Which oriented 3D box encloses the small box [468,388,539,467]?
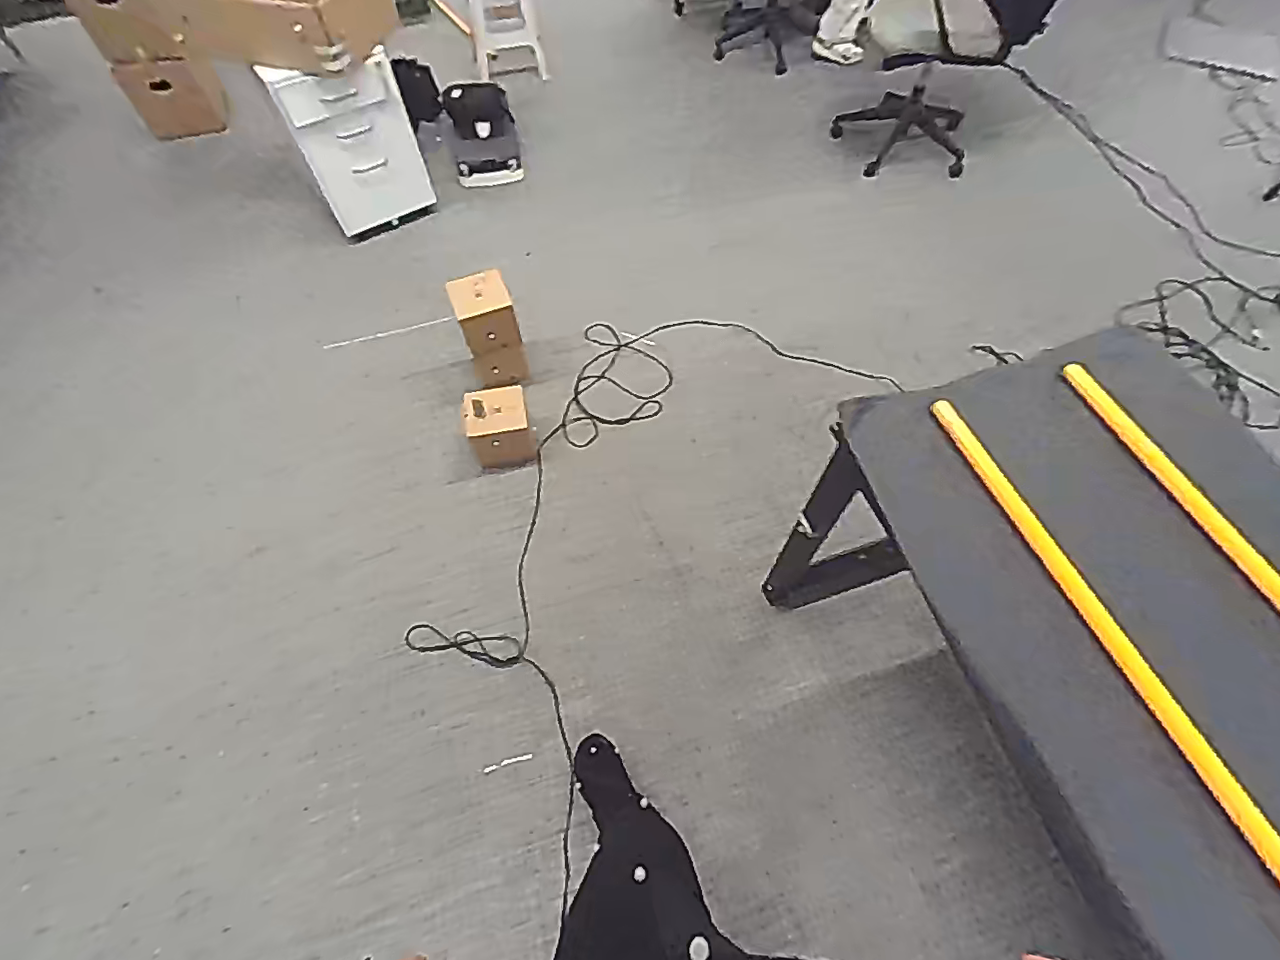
[{"bbox_3d":[-0.420,-0.157,1.670,0.179,0.176,0.168,-10,60,-6],"label":"small box"}]

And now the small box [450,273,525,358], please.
[{"bbox_3d":[-0.471,-0.504,1.686,0.168,0.176,0.179,-20,60,-10],"label":"small box"}]

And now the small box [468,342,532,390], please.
[{"bbox_3d":[-0.475,-0.425,1.831,0.168,0.176,0.179,-19,60,-9],"label":"small box"}]
